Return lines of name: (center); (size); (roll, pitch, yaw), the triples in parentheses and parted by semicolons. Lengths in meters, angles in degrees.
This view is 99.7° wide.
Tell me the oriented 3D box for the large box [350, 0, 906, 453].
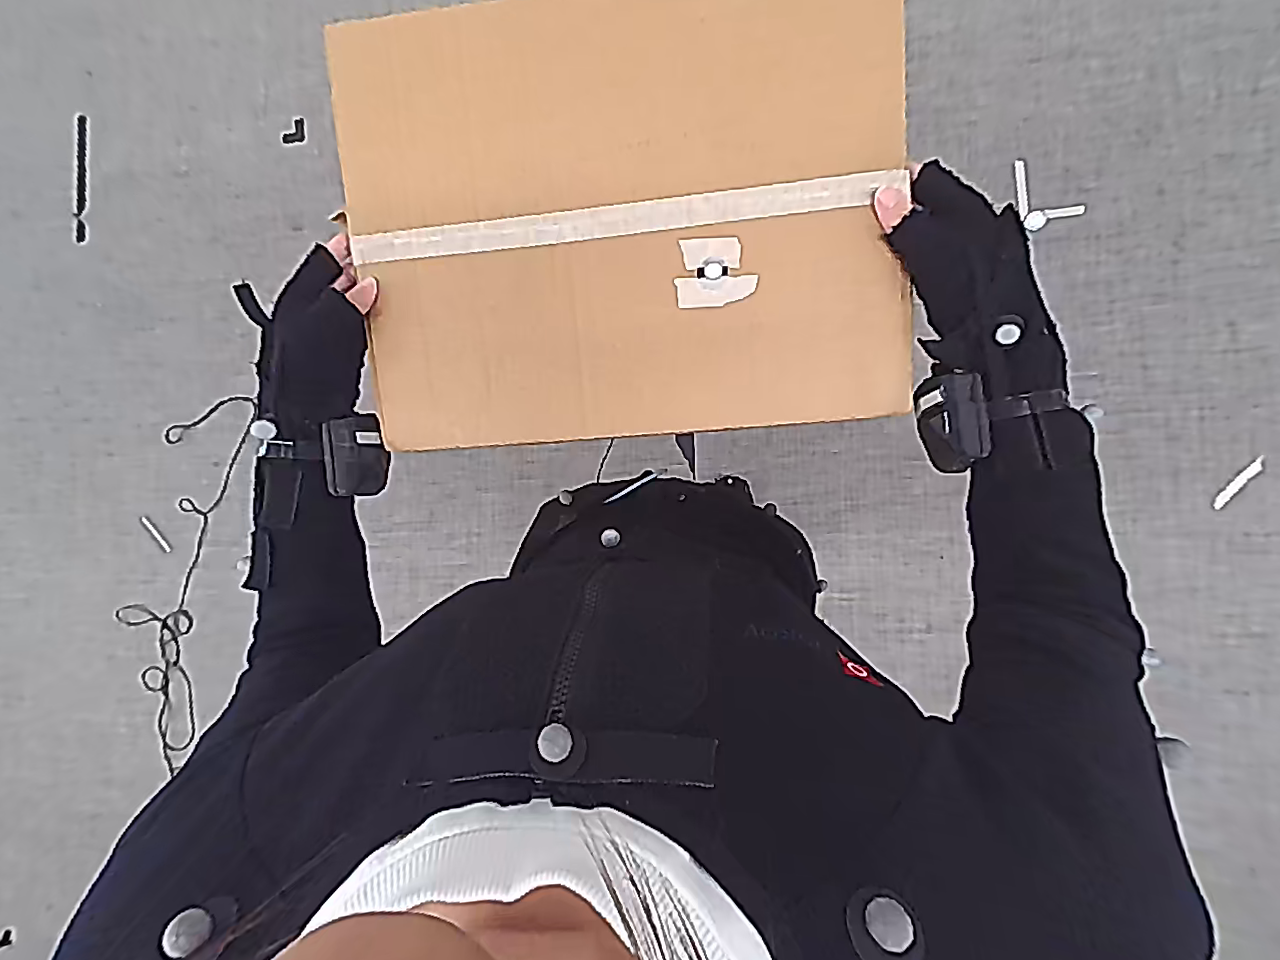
large box: (0.000, -0.209, 0.554); (0.408, 0.320, 0.320); (-5, 98, 5)
